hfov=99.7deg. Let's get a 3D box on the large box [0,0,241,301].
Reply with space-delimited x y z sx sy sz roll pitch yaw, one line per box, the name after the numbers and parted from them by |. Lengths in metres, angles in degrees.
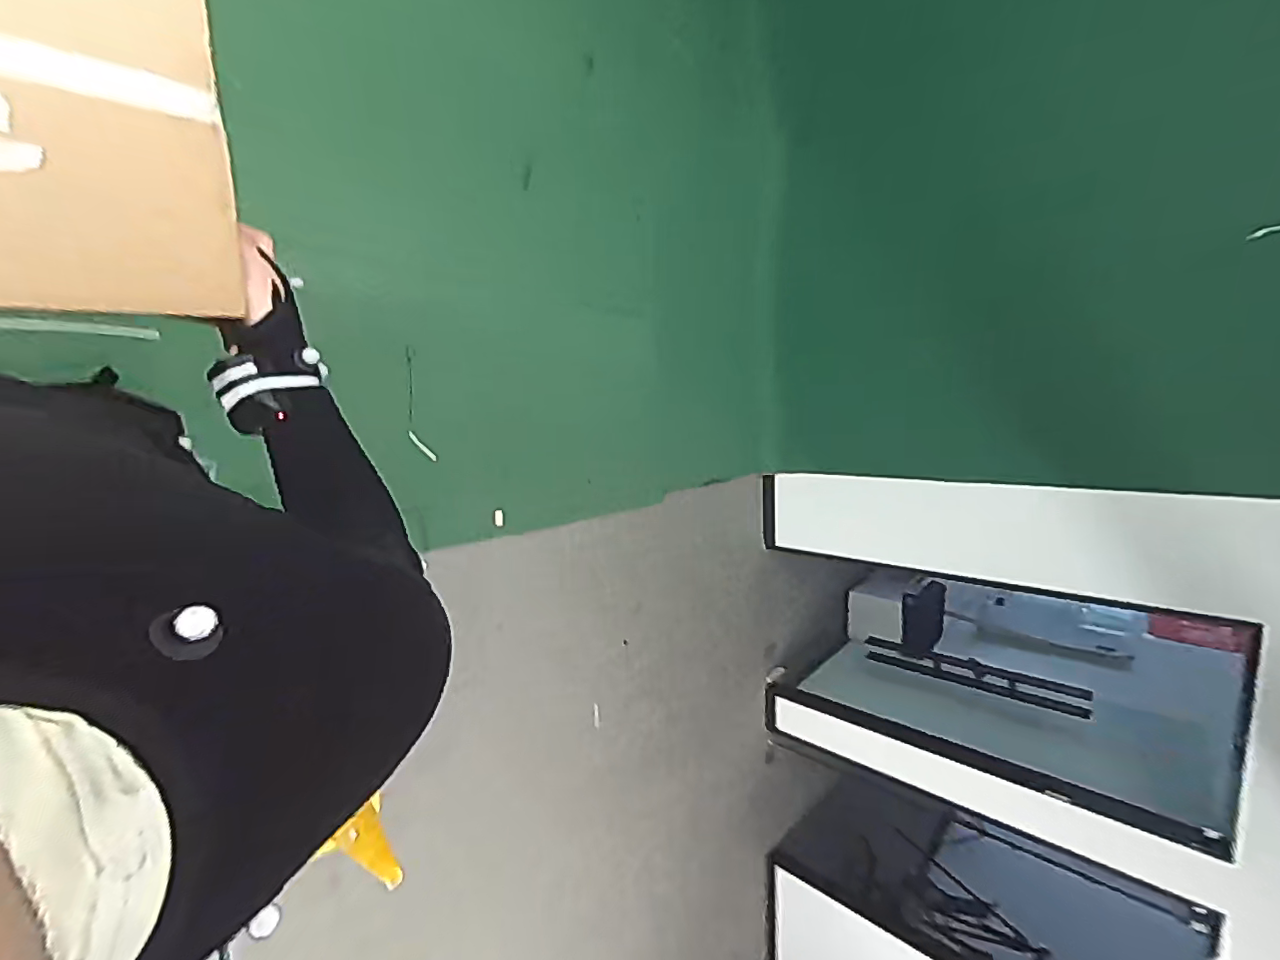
-0.583 -0.306 0.382 0.408 0.320 0.320 -15 119 -45 | large box
